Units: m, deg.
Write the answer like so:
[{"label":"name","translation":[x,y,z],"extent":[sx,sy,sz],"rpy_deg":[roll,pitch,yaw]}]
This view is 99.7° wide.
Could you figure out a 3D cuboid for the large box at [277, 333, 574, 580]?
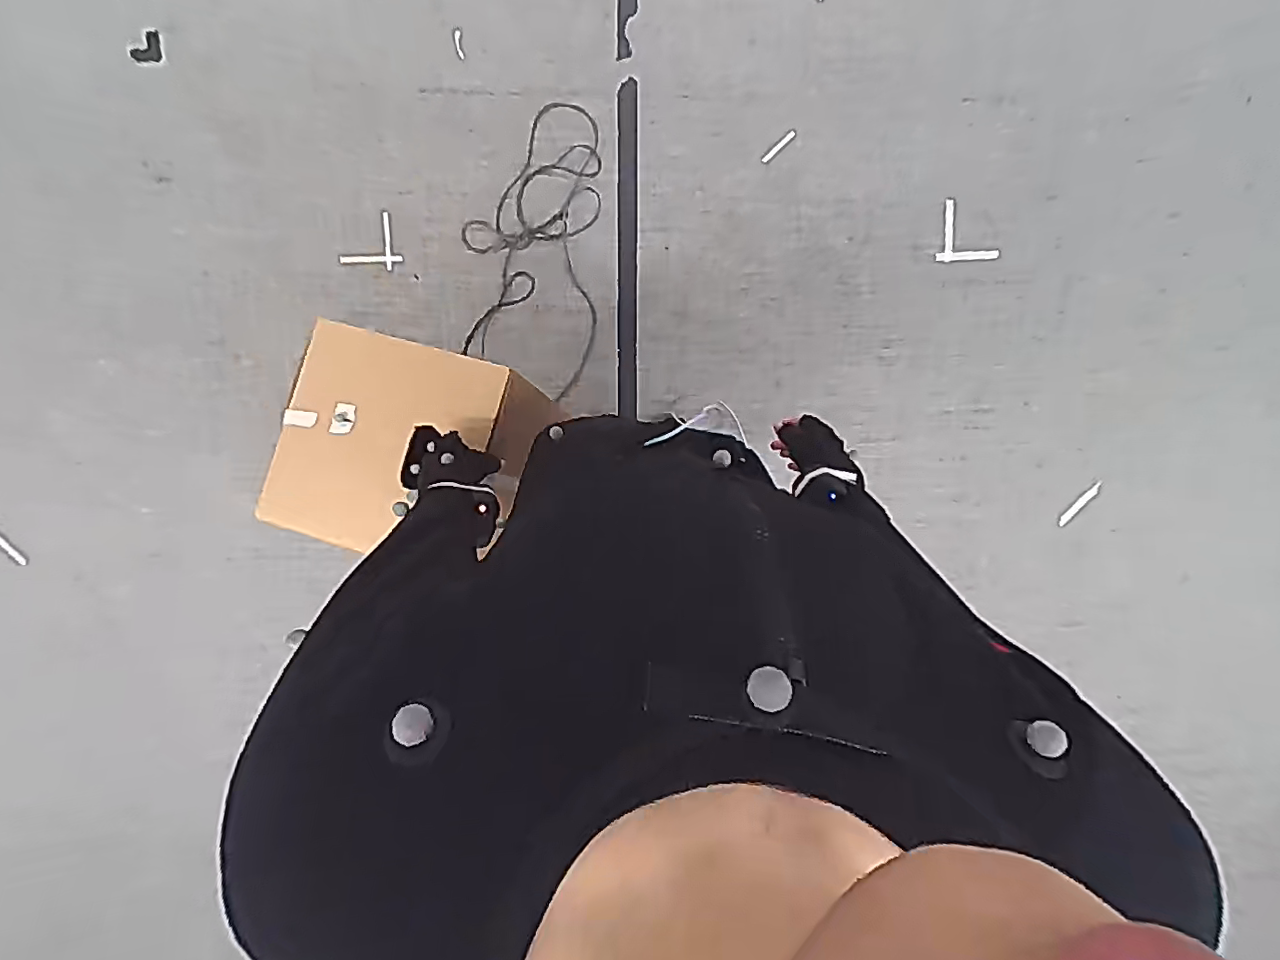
[{"label":"large box","translation":[-0.344,-0.034,0.975],"extent":[0.320,0.408,0.320],"rpy_deg":[15,89,6]}]
